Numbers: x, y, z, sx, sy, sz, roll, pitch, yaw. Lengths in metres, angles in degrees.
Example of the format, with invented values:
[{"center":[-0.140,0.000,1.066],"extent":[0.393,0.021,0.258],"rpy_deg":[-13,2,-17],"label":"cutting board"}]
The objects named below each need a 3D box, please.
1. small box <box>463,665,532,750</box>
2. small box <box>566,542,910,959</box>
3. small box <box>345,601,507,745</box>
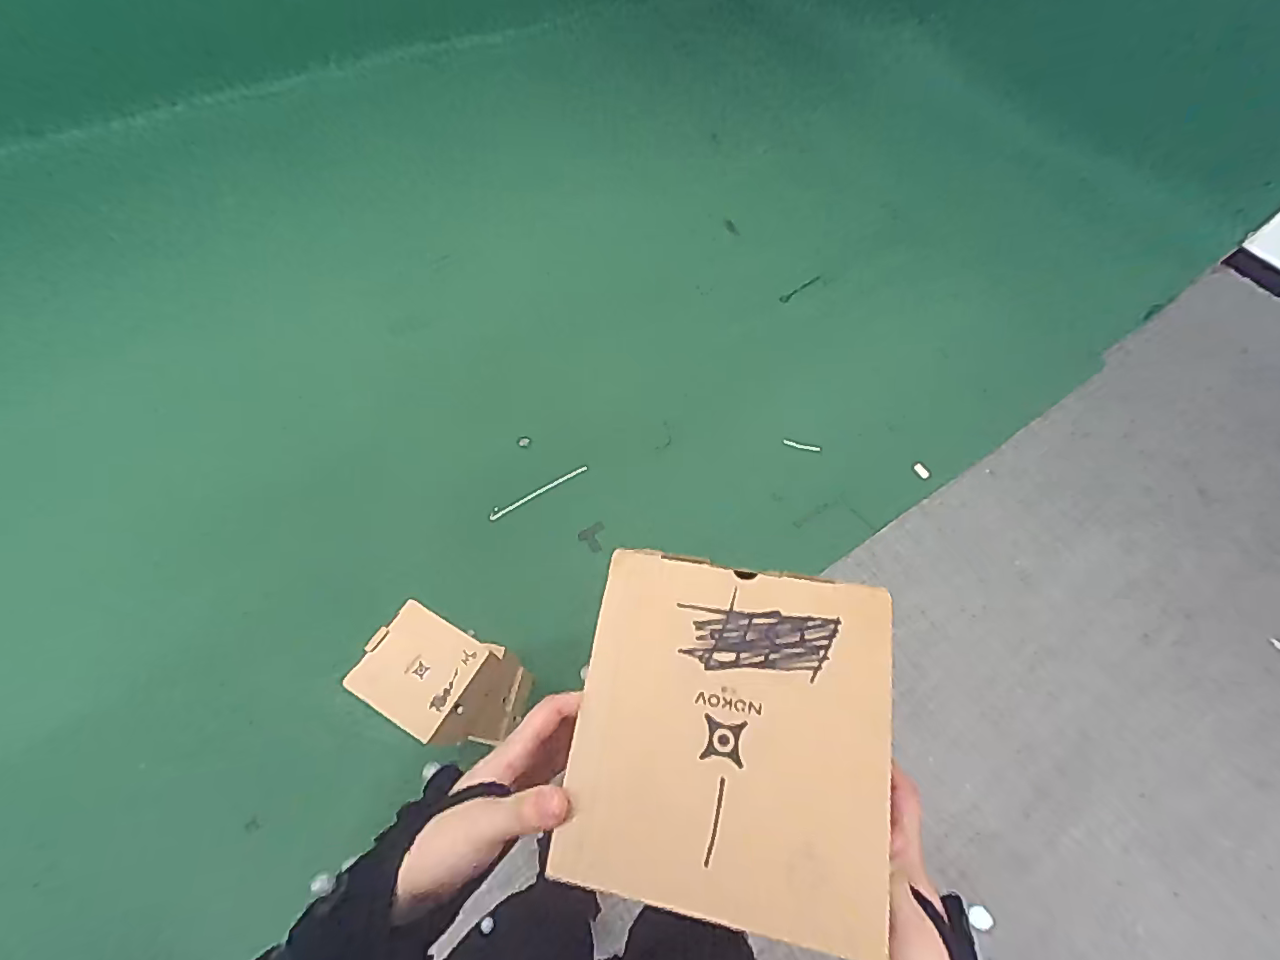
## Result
[{"center":[-0.355,0.506,1.227],"extent":[0.179,0.176,0.168],"rpy_deg":[11,62,3],"label":"small box"},{"center":[0.066,0.159,0.360],"extent":[0.168,0.176,0.179],"rpy_deg":[7,67,11],"label":"small box"},{"center":[-0.358,0.342,0.941],"extent":[0.179,0.176,0.168],"rpy_deg":[28,64,12],"label":"small box"}]
